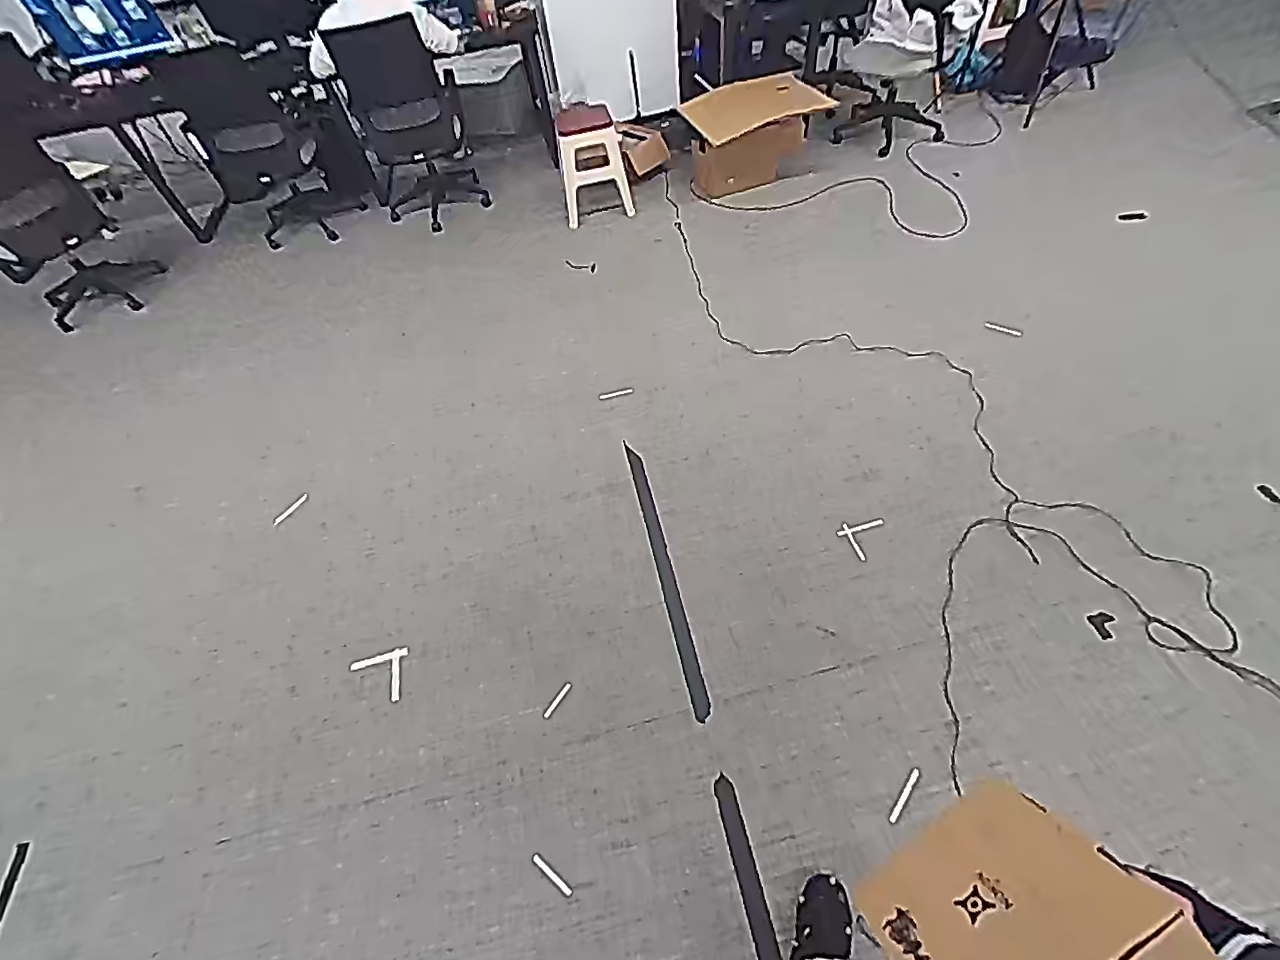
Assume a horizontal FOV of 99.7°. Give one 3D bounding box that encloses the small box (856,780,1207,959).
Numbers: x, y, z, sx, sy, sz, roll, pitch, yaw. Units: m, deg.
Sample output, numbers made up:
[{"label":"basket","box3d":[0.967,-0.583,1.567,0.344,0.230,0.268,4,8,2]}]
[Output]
[{"label":"small box","box3d":[0.318,0.394,0.426,0.179,0.168,0.176,-35,90,-4]}]
